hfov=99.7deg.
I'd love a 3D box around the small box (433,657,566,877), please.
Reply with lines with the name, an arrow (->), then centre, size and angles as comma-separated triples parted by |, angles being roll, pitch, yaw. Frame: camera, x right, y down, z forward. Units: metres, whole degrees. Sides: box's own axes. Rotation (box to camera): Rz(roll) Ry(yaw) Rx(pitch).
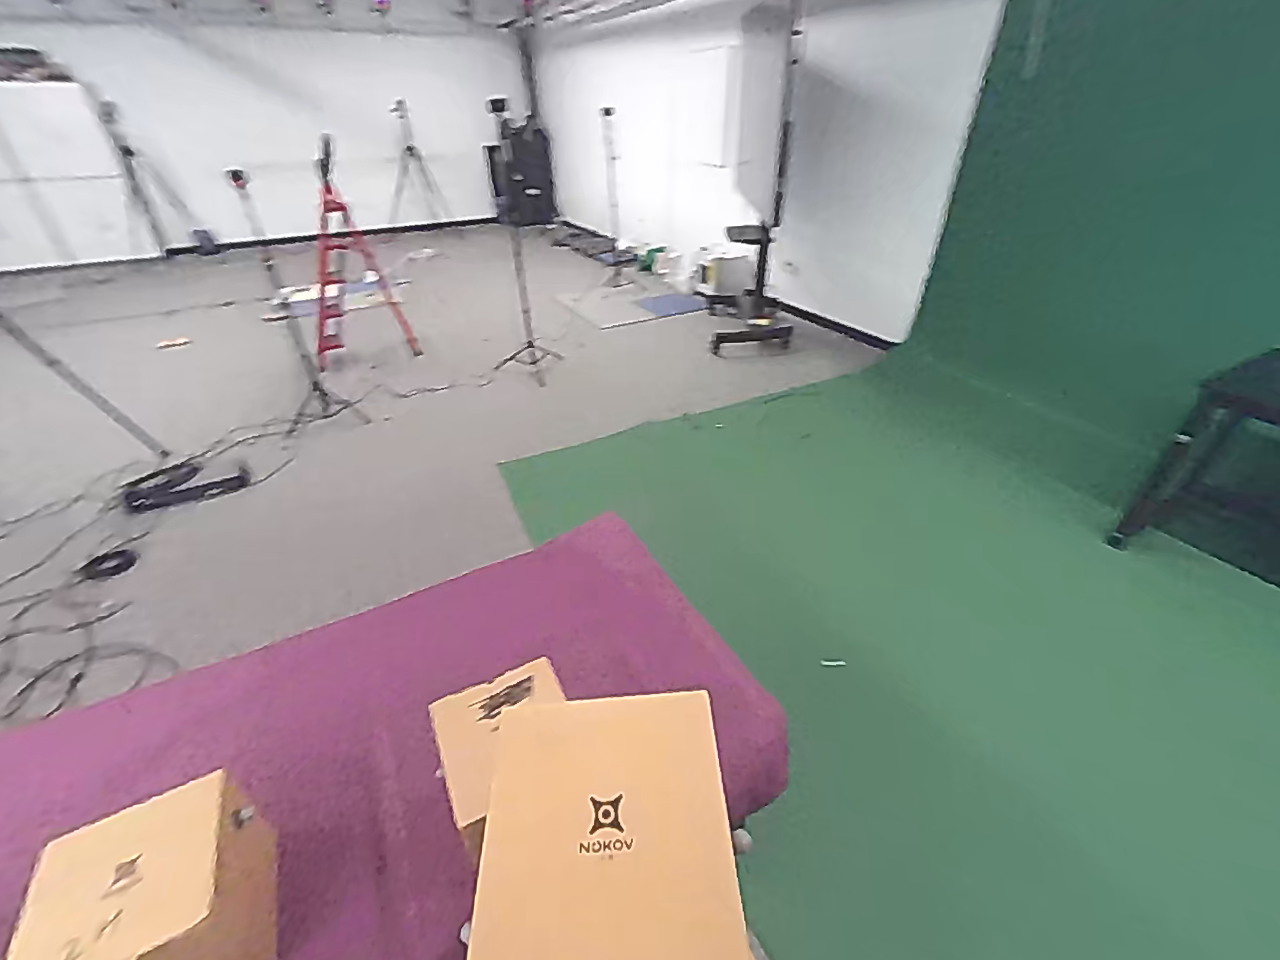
small box -> -0.166, 0.384, 0.732 | 0.168, 0.176, 0.179 | -18, 38, -23

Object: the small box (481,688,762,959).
small box -> -0.011, 0.287, 0.418 | 0.168, 0.176, 0.179 | -4, 42, 0

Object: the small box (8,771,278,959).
small box -> -0.527, 0.478, 0.599 | 0.168, 0.176, 0.179 | -19, 37, -24
